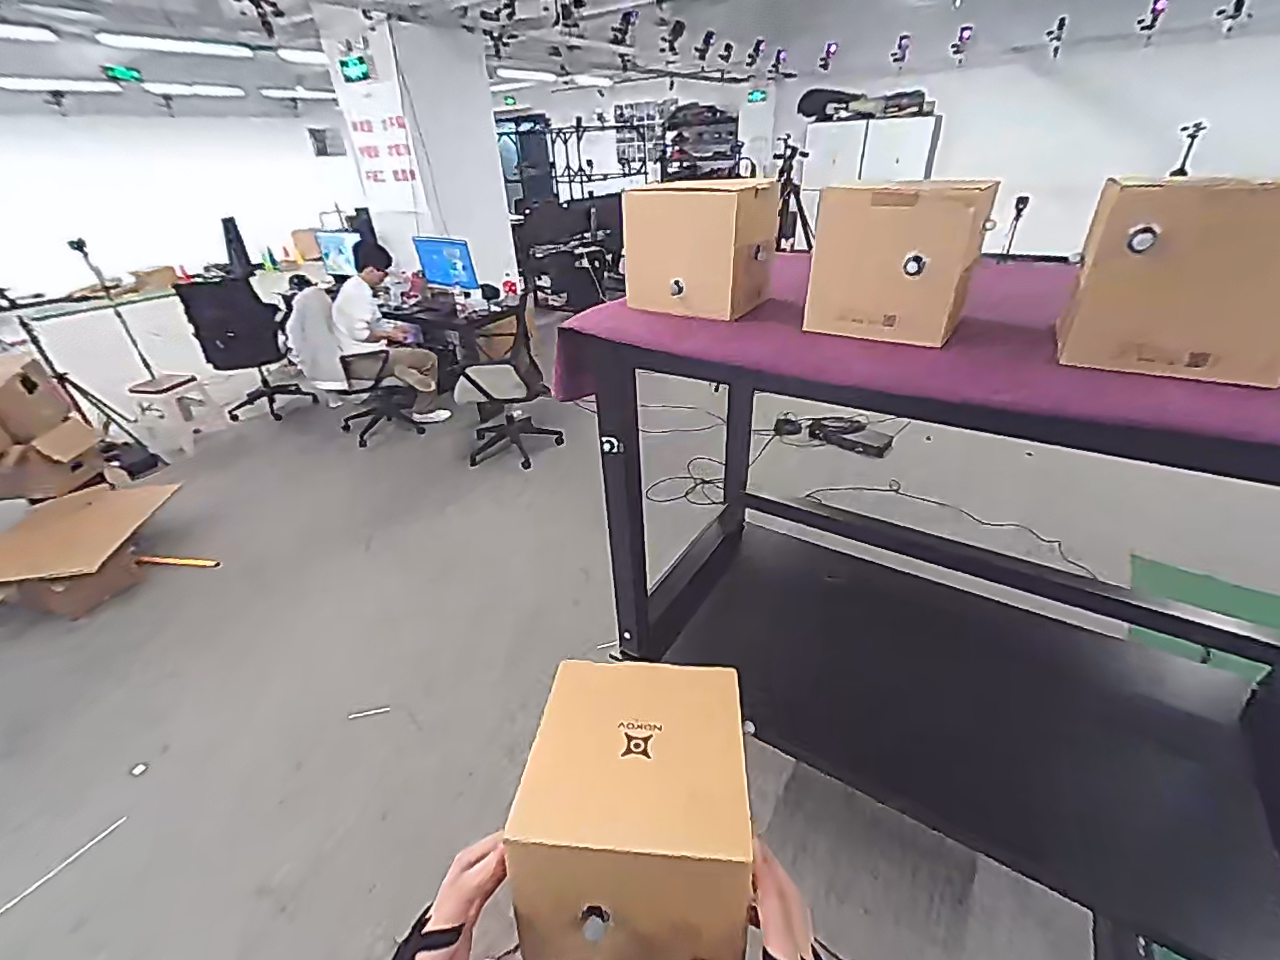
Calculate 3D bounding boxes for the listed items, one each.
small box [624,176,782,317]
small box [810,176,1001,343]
[{"bbox_3d":[0.093,-0.350,0.807,0.179,0.176,0.168,17,36,27],"label":"small box"},{"bbox_3d":[0.325,-0.281,0.678,0.168,0.176,0.179,19,36,30],"label":"small box"}]
